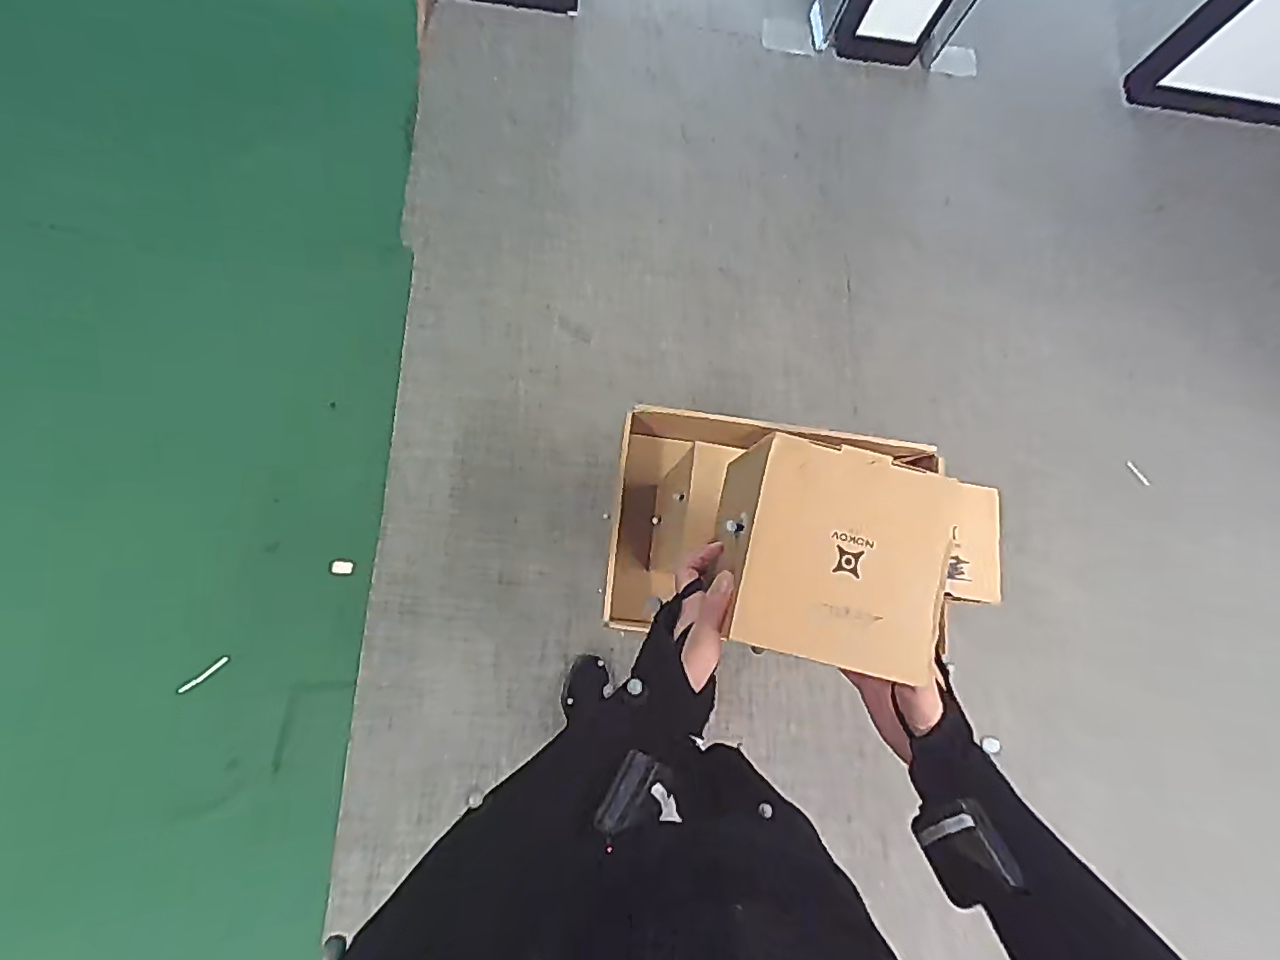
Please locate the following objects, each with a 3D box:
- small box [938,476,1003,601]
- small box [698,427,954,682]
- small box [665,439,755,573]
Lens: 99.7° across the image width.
[{"bbox_3d":[0.439,0.092,0.860,0.168,0.176,0.179,8,78,-6],"label":"small box"},{"bbox_3d":[0.160,0.068,0.516,0.168,0.176,0.179,14,82,-1],"label":"small box"},{"bbox_3d":[0.137,0.054,0.828,0.168,0.176,0.179,9,78,-5],"label":"small box"}]
